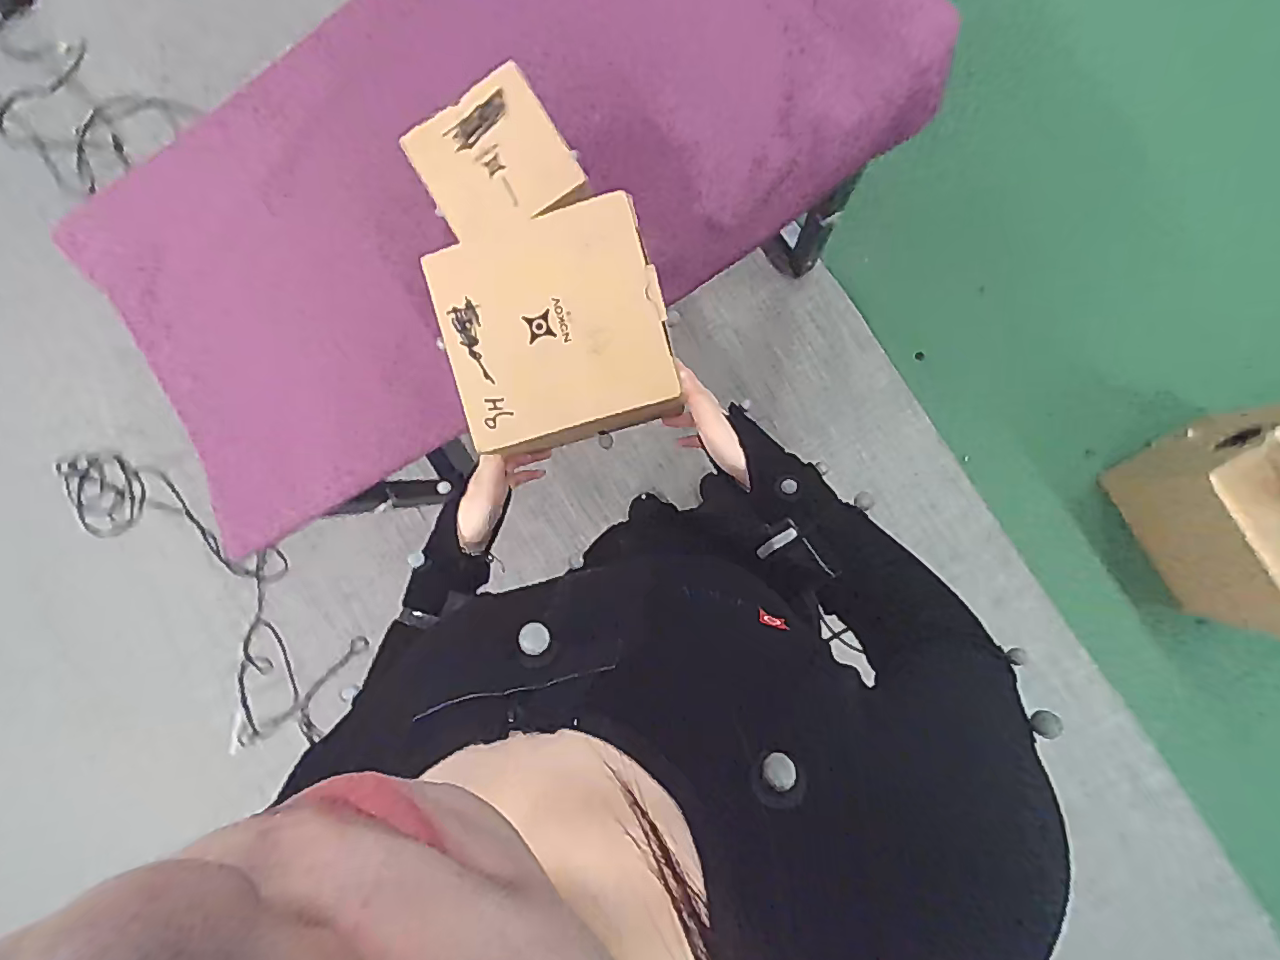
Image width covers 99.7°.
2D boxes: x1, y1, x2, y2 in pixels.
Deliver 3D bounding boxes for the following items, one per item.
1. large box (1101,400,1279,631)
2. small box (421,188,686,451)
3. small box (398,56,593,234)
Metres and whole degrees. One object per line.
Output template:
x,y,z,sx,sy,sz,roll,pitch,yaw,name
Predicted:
1.371,0.072,1.193,0.320,0.320,0.408,-31,88,6,large box
-0.063,-0.126,0.494,0.179,0.176,0.168,-14,91,4,small box
-0.166,-0.375,0.702,0.168,0.176,0.179,-32,87,6,small box
